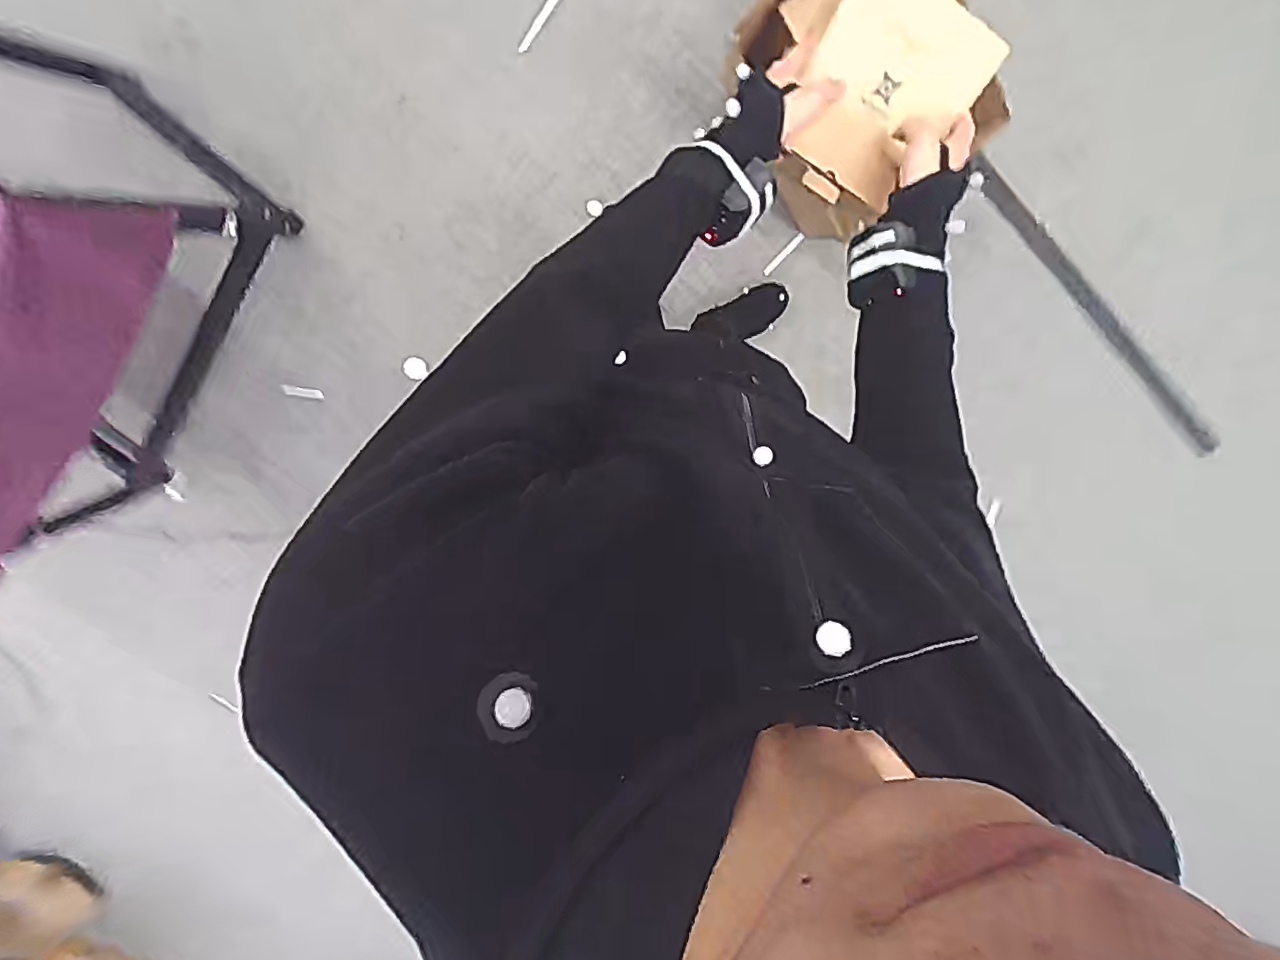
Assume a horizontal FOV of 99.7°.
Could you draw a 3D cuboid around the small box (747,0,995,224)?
[{"bbox_3d":[0.238,-0.418,0.614,0.168,0.176,0.179,27,114,-12],"label":"small box"}]
